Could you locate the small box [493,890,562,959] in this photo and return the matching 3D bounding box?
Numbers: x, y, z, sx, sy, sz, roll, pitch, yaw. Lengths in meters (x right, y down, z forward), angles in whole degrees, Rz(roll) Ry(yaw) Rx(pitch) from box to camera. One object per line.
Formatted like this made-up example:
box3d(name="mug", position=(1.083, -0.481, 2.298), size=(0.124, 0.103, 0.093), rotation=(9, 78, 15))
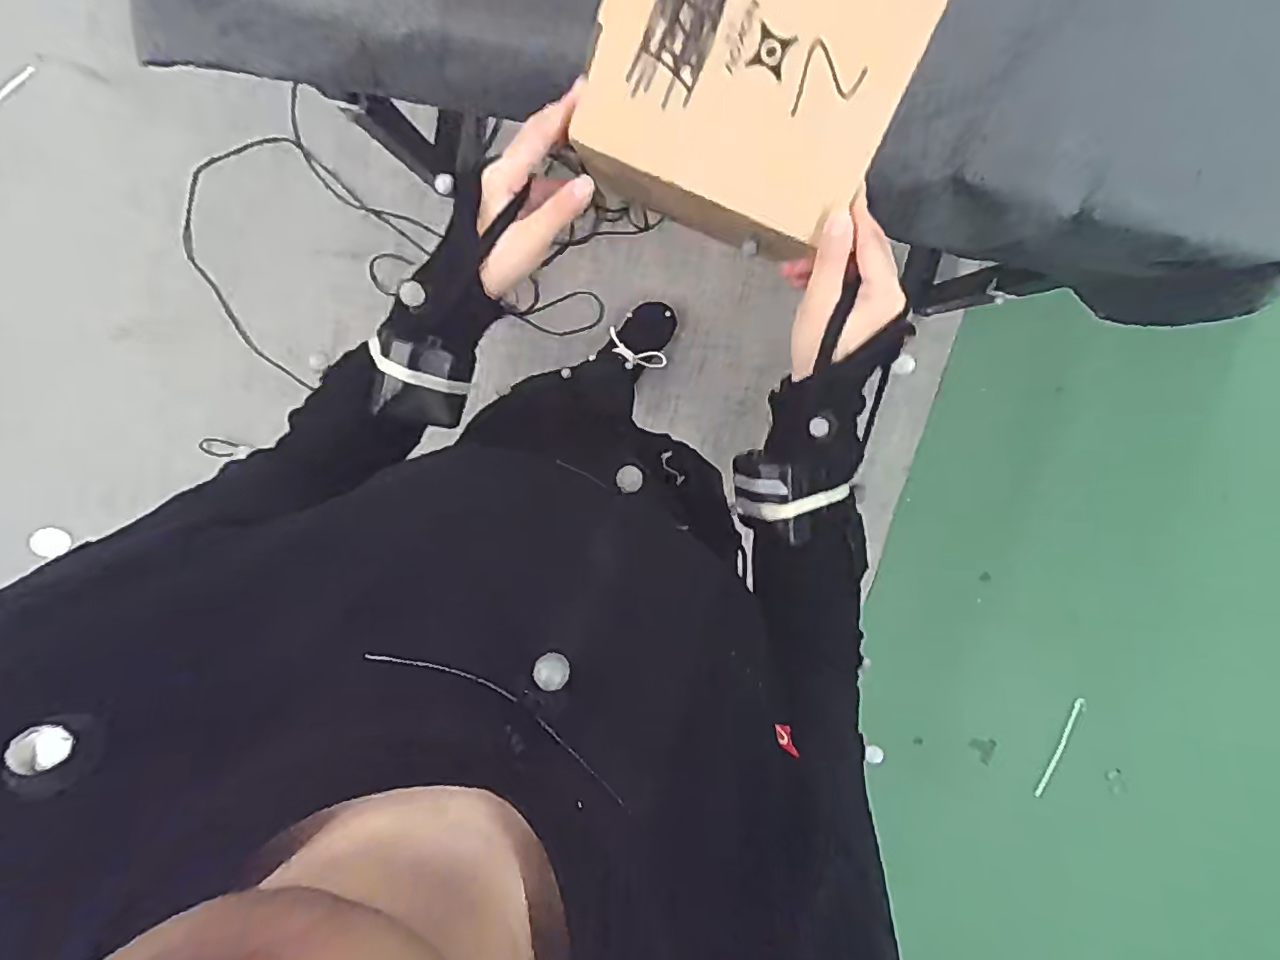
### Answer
box3d(name="small box", position=(-0.321, 1.316, 1.526), size=(0.168, 0.176, 0.179), rotation=(11, 100, -3))
